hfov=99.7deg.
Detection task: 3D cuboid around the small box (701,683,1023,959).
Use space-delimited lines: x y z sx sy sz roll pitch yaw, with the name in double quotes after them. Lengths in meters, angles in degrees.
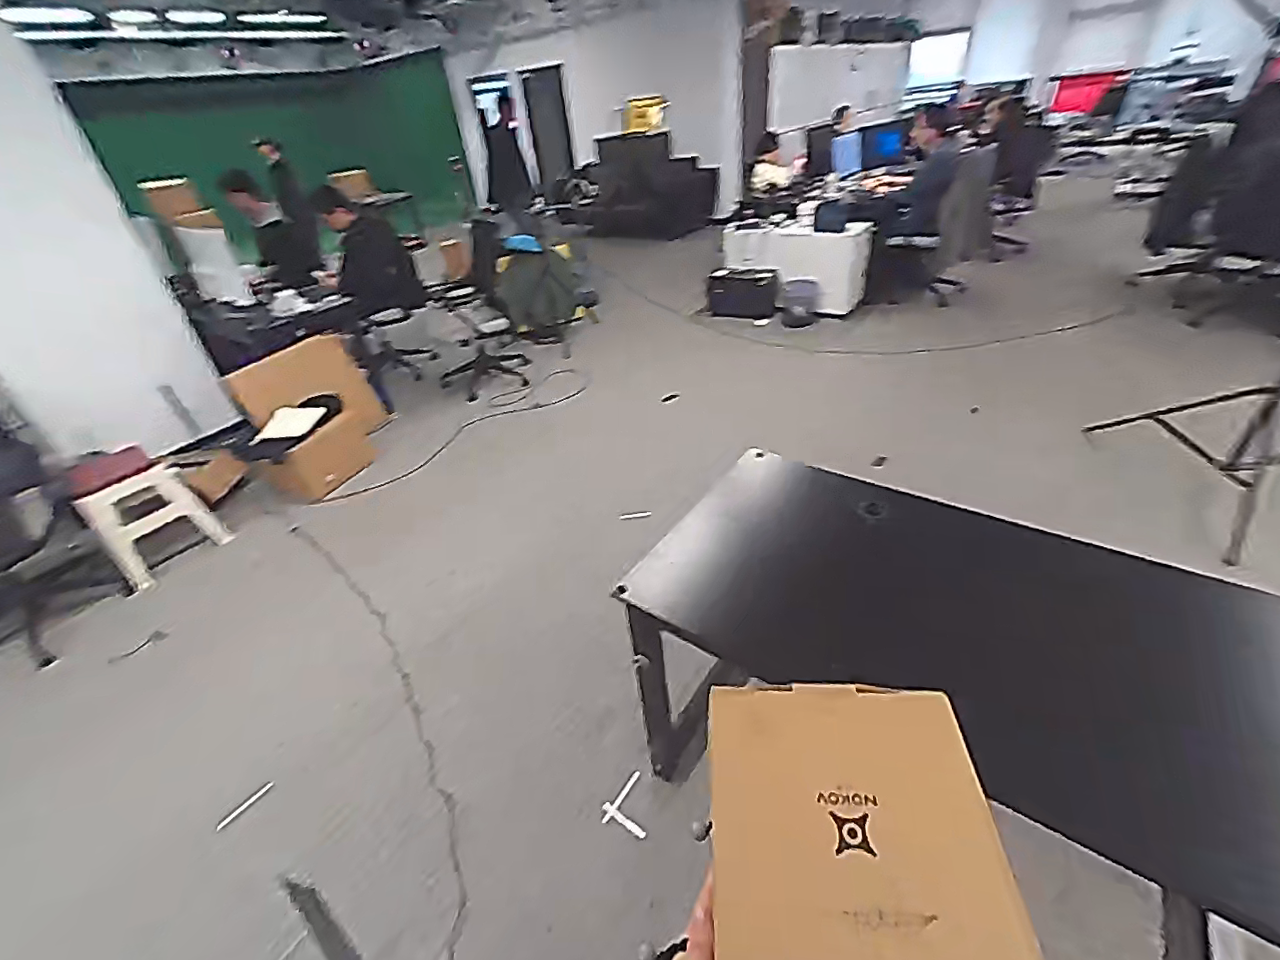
0.128 0.268 0.388 0.168 0.176 0.179 -3 43 6 "small box"
